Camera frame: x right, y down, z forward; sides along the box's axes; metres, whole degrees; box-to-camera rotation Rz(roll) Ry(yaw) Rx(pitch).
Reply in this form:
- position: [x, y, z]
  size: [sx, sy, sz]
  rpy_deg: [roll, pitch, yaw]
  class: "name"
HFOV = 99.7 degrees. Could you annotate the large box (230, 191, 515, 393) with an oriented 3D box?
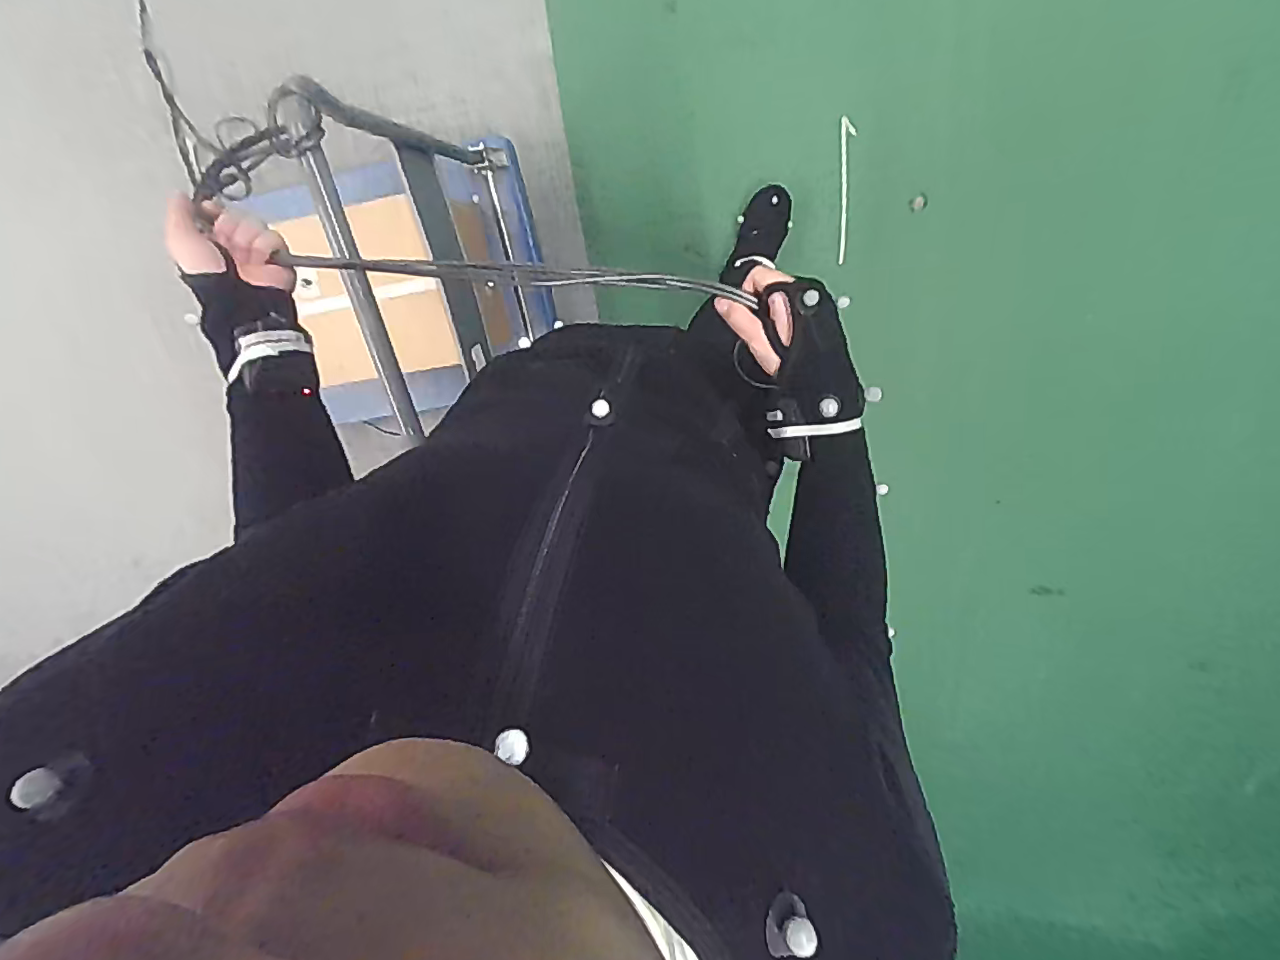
- position: [-0.543, -0.409, 1.183]
  size: [0.408, 0.320, 0.320]
  rpy_deg: [-7, 112, 10]
  class: "large box"
